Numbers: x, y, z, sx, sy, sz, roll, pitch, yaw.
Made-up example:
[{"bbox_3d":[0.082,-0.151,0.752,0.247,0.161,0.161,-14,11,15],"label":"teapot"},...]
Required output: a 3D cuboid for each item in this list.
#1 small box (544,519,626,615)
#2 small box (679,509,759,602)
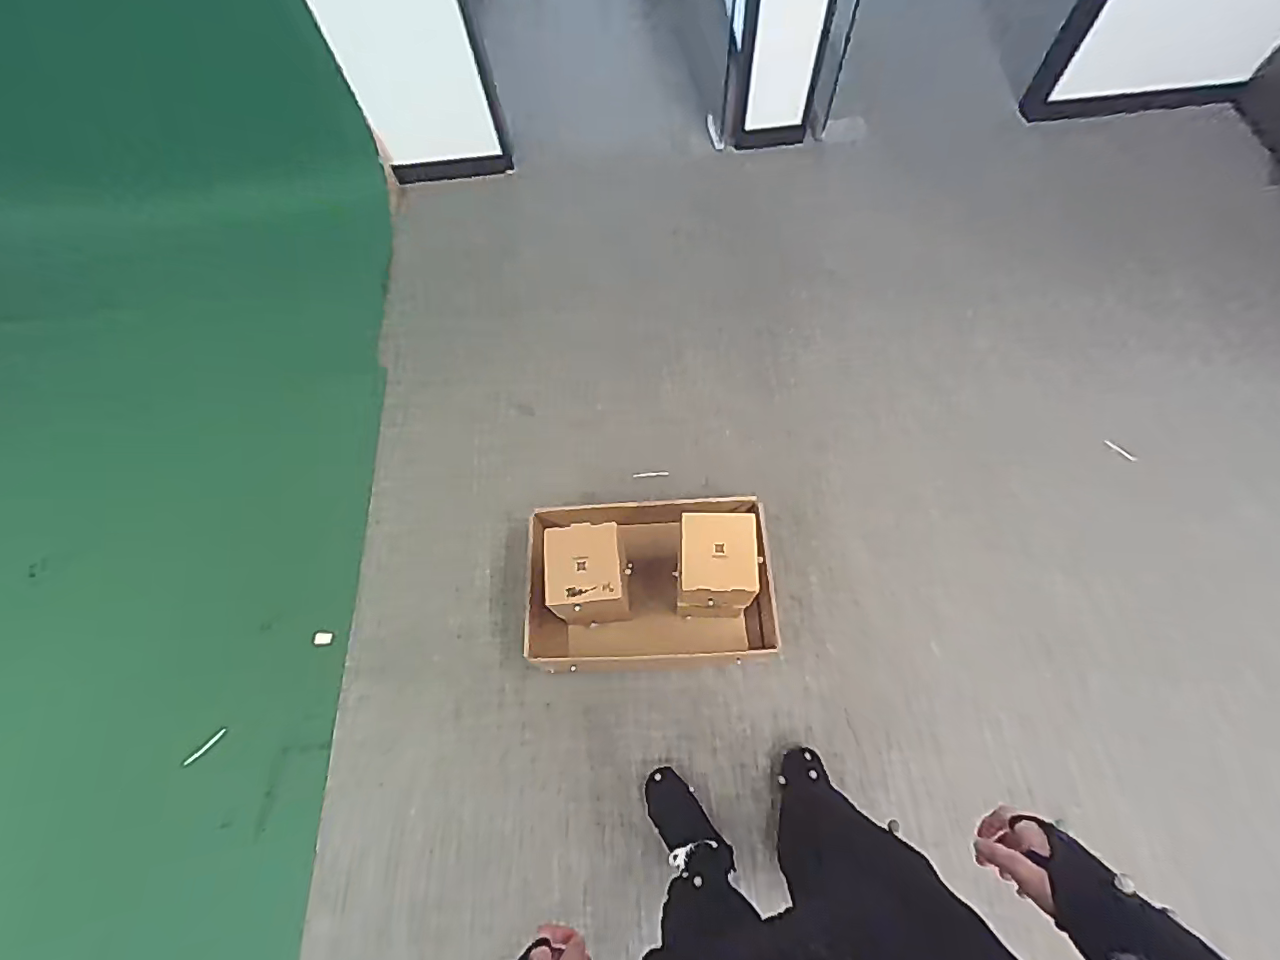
[{"bbox_3d":[-0.123,0.204,1.250,0.168,0.176,0.179,-6,66,2],"label":"small box"},{"bbox_3d":[0.175,0.178,1.250,0.168,0.176,0.179,1,68,2],"label":"small box"}]
